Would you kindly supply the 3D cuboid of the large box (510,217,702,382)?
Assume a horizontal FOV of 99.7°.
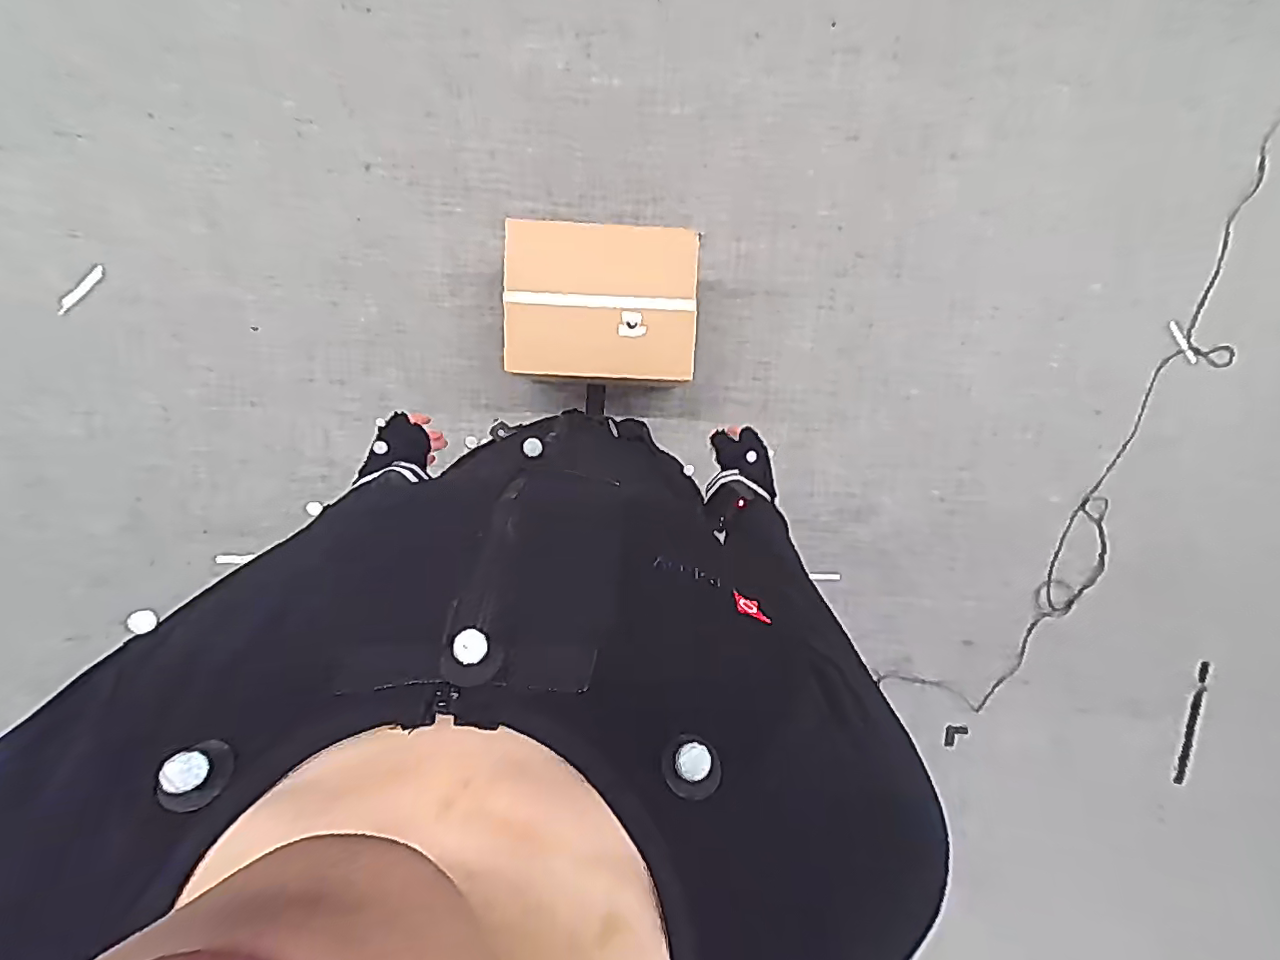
[{"bbox_3d":[-0.082,-0.400,1.280,0.408,0.320,0.320,2,98,-4],"label":"large box"}]
